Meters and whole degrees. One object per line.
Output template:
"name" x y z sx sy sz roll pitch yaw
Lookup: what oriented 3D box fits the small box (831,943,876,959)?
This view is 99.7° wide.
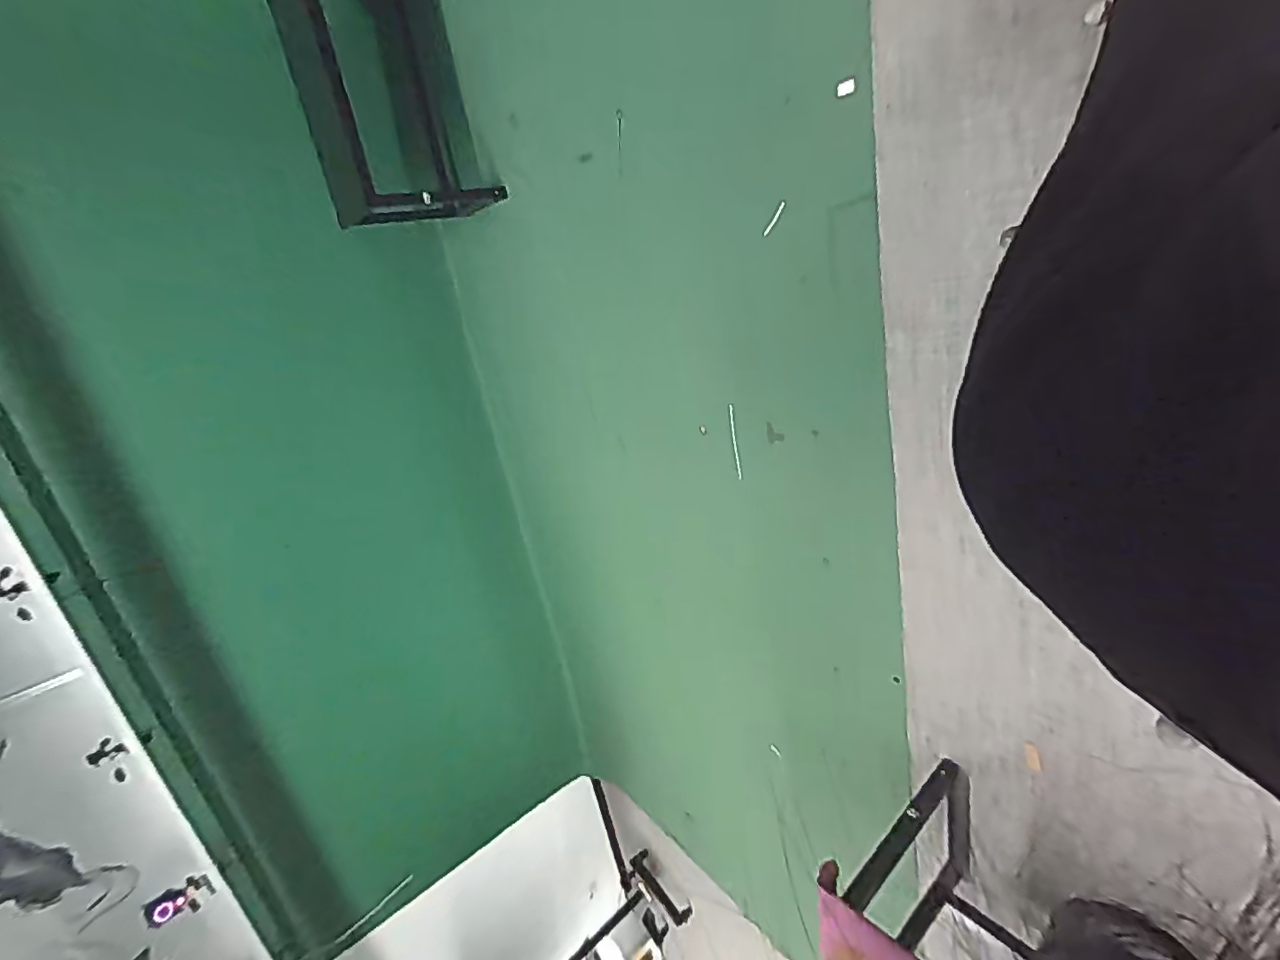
"small box" 0.567 1.340 1.372 0.179 0.176 0.168 8 116 53
